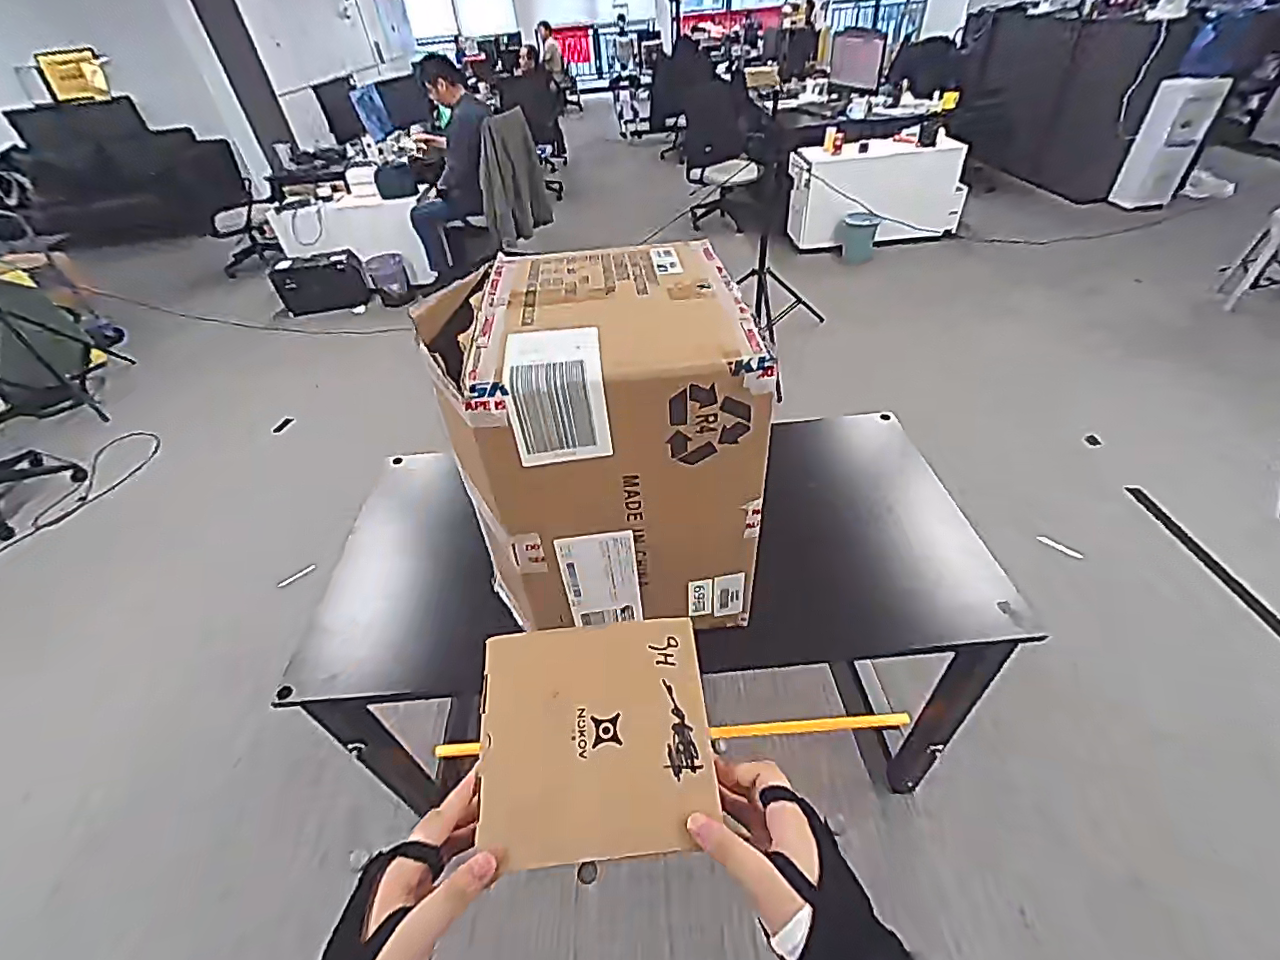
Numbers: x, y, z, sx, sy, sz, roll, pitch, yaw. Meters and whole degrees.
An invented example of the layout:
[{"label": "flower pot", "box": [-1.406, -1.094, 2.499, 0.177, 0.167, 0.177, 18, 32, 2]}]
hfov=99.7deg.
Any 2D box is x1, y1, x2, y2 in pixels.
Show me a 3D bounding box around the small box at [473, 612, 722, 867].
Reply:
[{"label": "small box", "box": [-0.032, 0.234, 0.479, 0.179, 0.176, 0.168, -5, 54, -2]}]
